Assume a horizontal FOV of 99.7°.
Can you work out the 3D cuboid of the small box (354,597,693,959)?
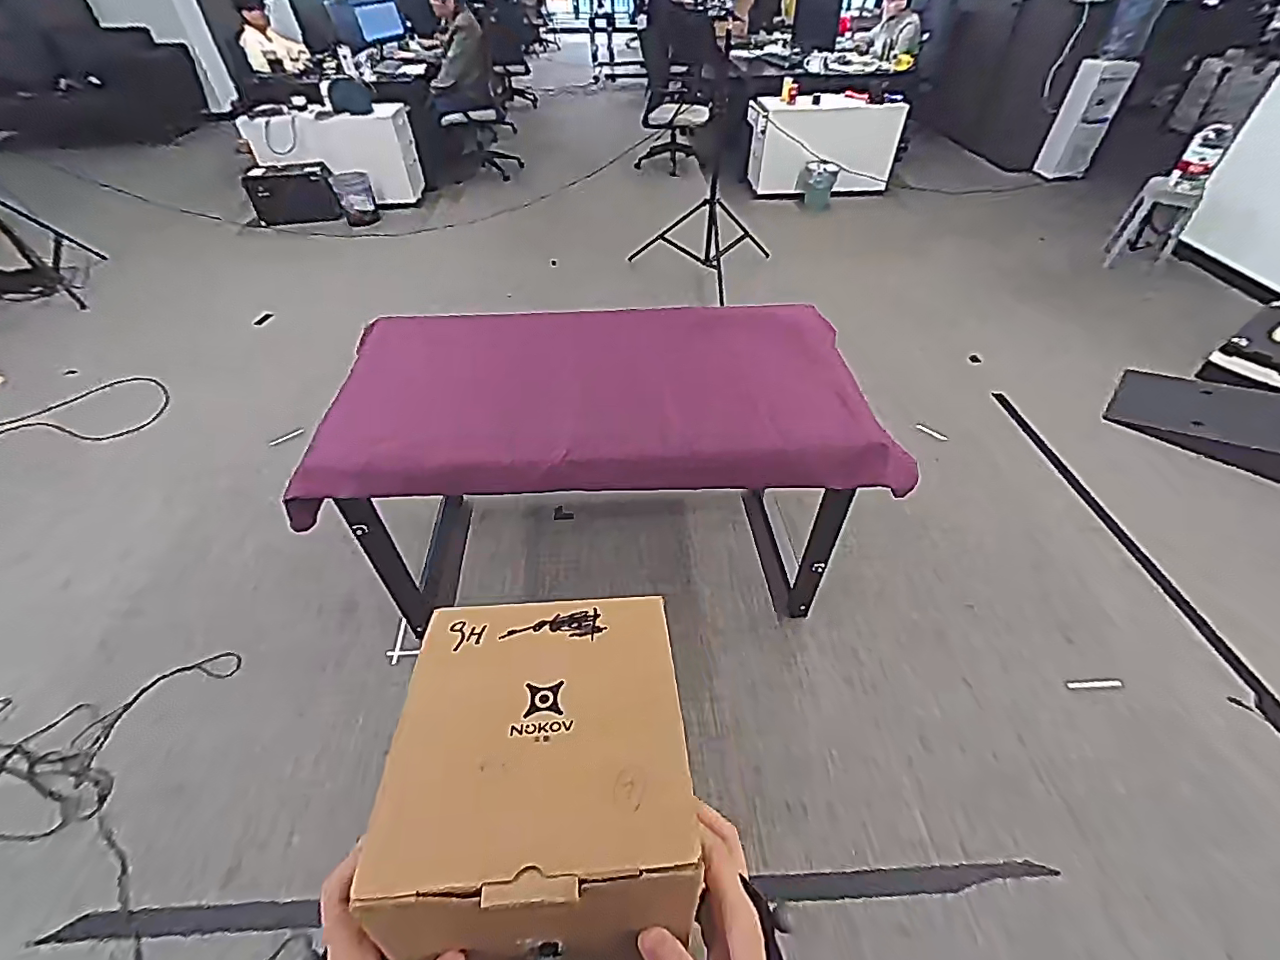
[{"bbox_3d":[-0.059,0.205,0.369,0.168,0.176,0.179,-2,35,-4],"label":"small box"}]
